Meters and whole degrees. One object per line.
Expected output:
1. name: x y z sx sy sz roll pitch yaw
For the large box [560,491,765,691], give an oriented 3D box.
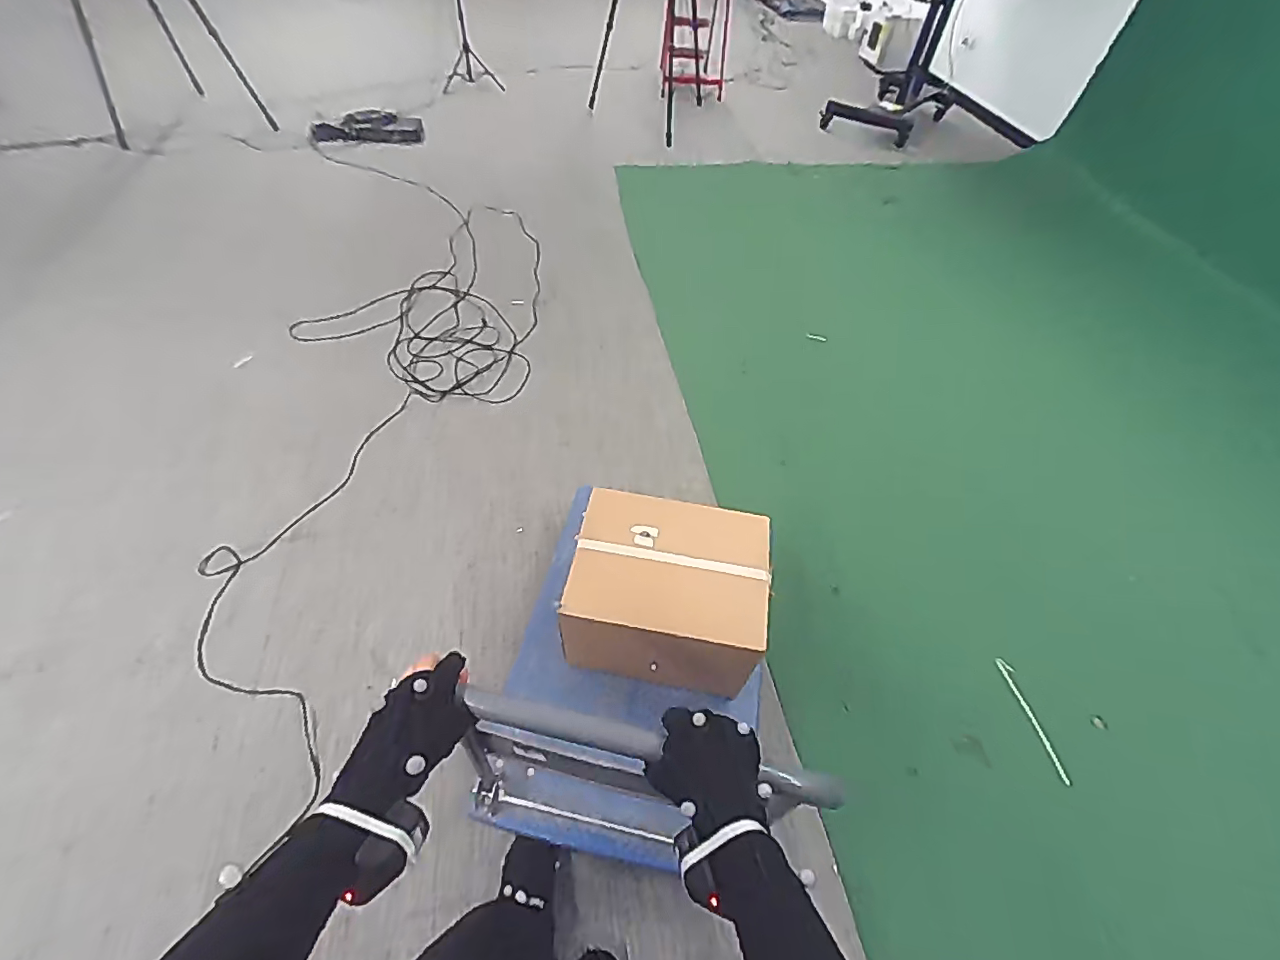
1. large box: 0.056 0.261 1.244 0.408 0.320 0.320 9 52 4
